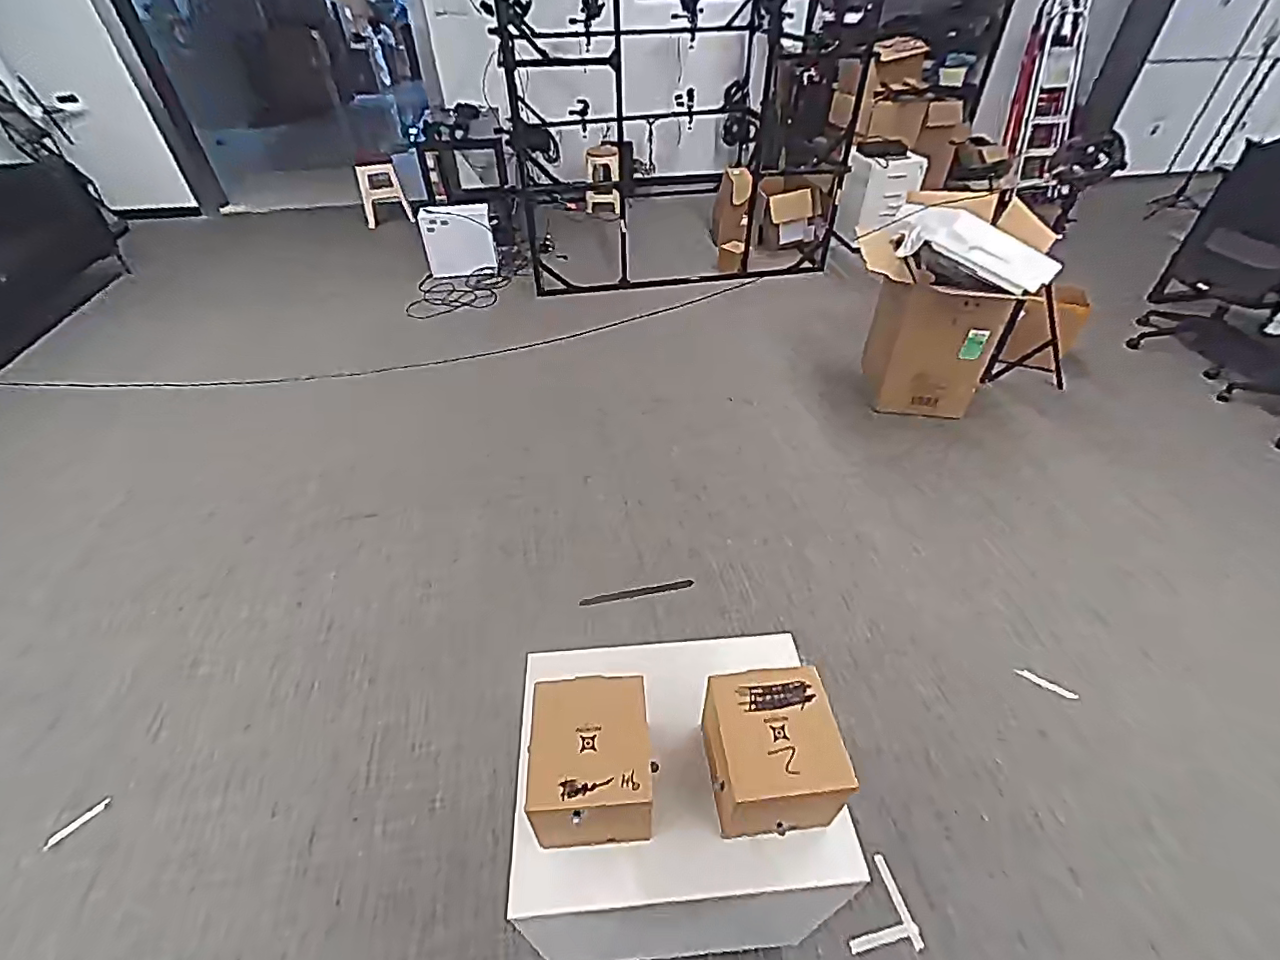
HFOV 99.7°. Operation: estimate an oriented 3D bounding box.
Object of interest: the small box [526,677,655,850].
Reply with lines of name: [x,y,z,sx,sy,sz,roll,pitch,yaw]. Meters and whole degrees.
small box: [-0.067,0.417,0.799,0.168,0.176,0.179,-3,41,-2]
